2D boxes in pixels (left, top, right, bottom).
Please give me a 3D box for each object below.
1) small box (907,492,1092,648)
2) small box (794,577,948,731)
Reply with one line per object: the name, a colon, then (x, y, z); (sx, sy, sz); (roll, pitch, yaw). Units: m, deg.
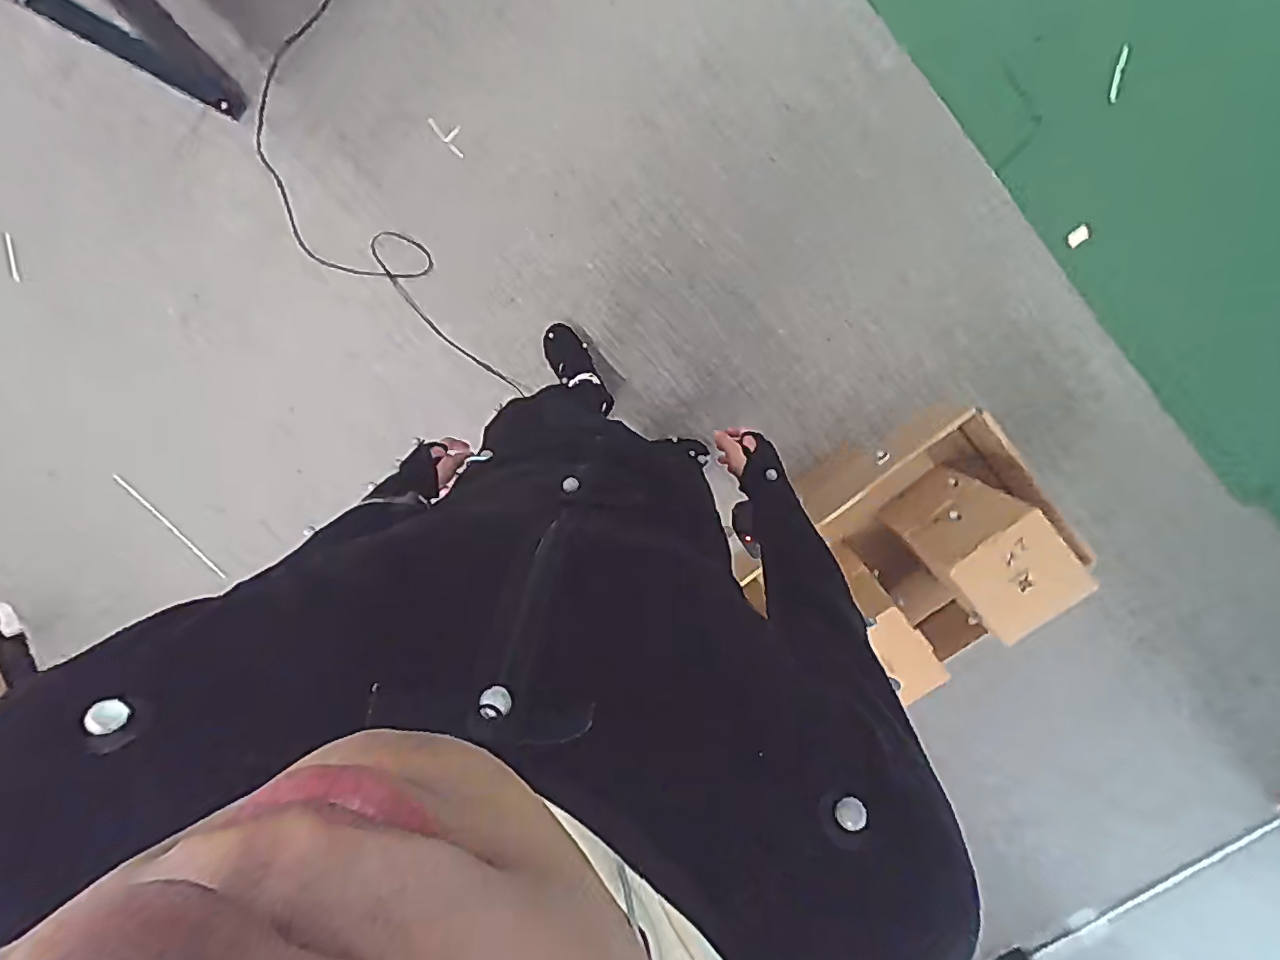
small box: (0.608, 0.146, 0.939); (0.168, 0.176, 0.179); (-40, 97, 11)
small box: (0.410, 0.308, 0.992); (0.179, 0.176, 0.168); (-38, 96, 12)
